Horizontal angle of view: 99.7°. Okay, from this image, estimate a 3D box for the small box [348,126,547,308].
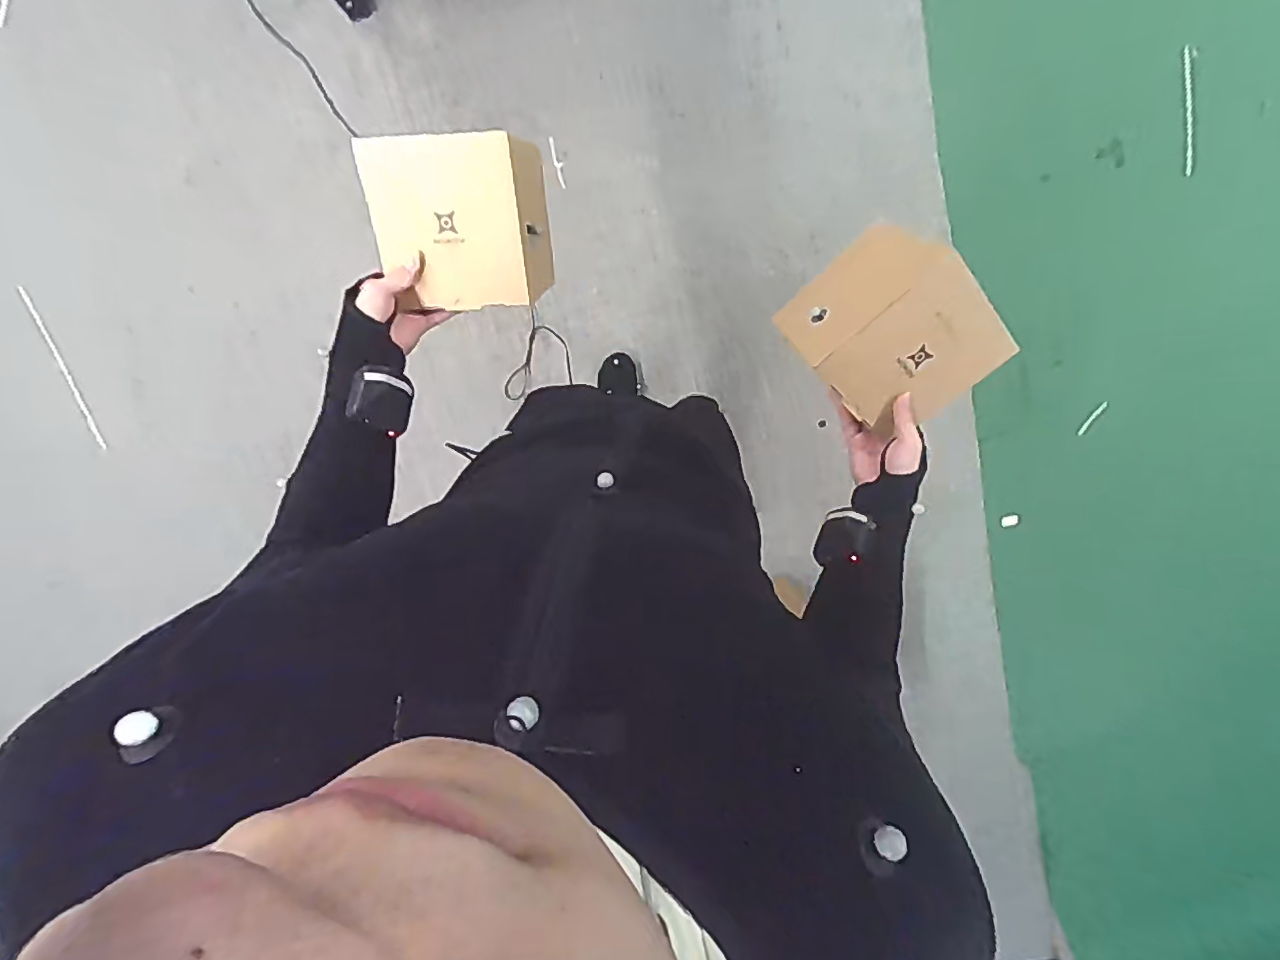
[{"bbox_3d":[-0.216,-0.318,0.662,0.168,0.176,0.179,-2,119,2],"label":"small box"}]

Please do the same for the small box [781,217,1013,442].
[{"bbox_3d":[0.295,-0.187,0.665,0.168,0.176,0.179,35,115,-27],"label":"small box"}]
